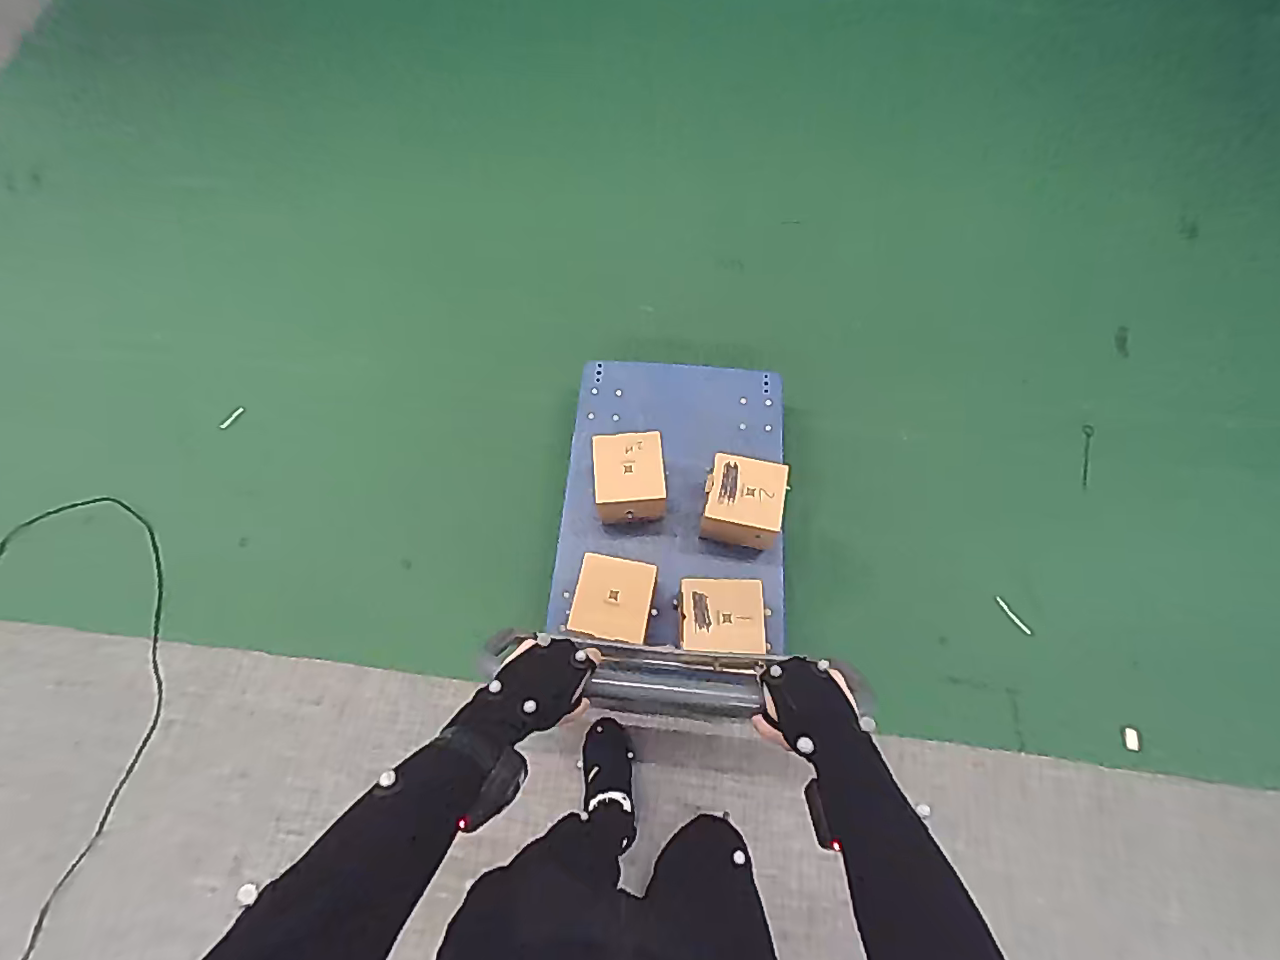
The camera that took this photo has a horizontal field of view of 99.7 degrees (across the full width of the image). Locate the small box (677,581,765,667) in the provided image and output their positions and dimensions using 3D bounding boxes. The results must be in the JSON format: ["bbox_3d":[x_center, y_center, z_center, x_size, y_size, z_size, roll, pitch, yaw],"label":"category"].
[{"bbox_3d":[0.174,0.326,1.210,0.179,0.176,0.168,2,69,1],"label":"small box"}]

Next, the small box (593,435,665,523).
[{"bbox_3d":[-0.025,0.005,1.343,0.168,0.176,0.179,-3,68,-1],"label":"small box"}]

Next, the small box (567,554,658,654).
[{"bbox_3d":[-0.058,0.287,1.232,0.168,0.176,0.179,11,69,4],"label":"small box"}]
